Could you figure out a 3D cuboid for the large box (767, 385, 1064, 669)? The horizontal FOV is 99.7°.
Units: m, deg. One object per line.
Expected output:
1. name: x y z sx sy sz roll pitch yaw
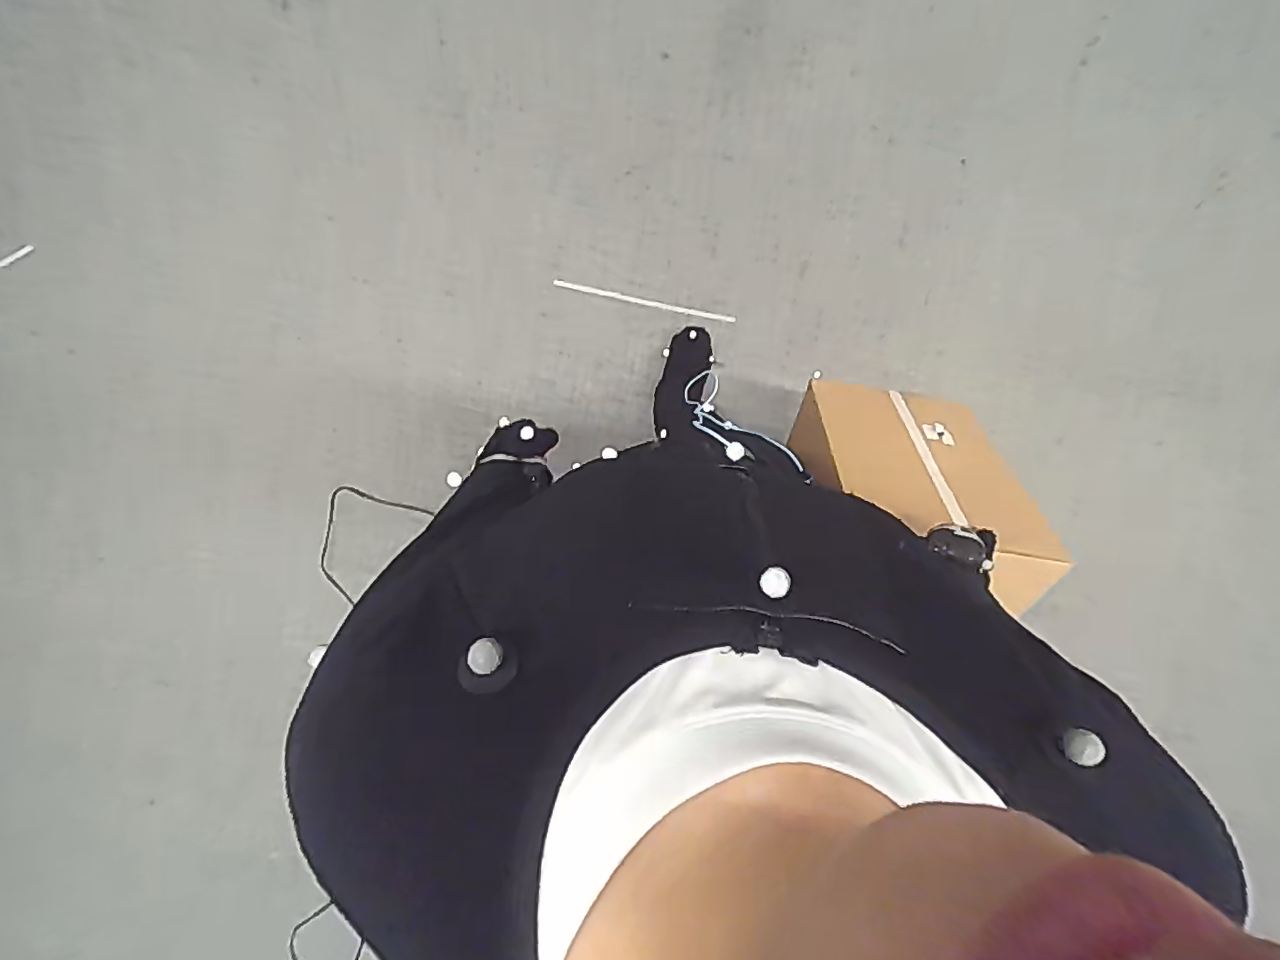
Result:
1. large box: 0.440 0.077 0.994 0.320 0.408 0.320 10 130 -2
